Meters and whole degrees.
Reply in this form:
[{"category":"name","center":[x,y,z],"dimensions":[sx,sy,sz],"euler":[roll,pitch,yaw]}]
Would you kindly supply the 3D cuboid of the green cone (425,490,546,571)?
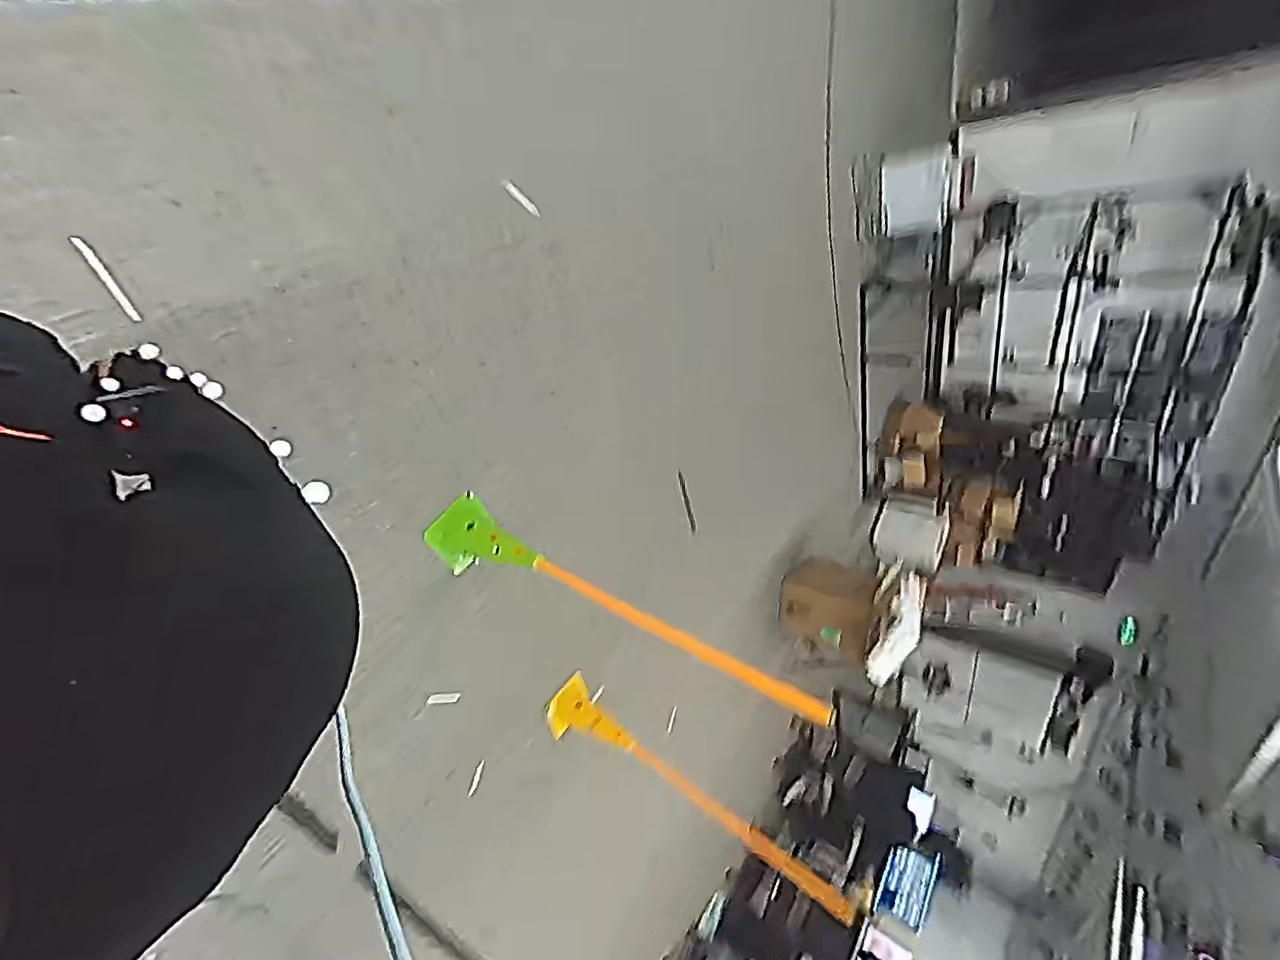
[{"category":"green cone","center":[-0.412,0.190,1.565],"dimensions":[0.200,0.368,0.202],"euler":[-53,139,-28]}]
